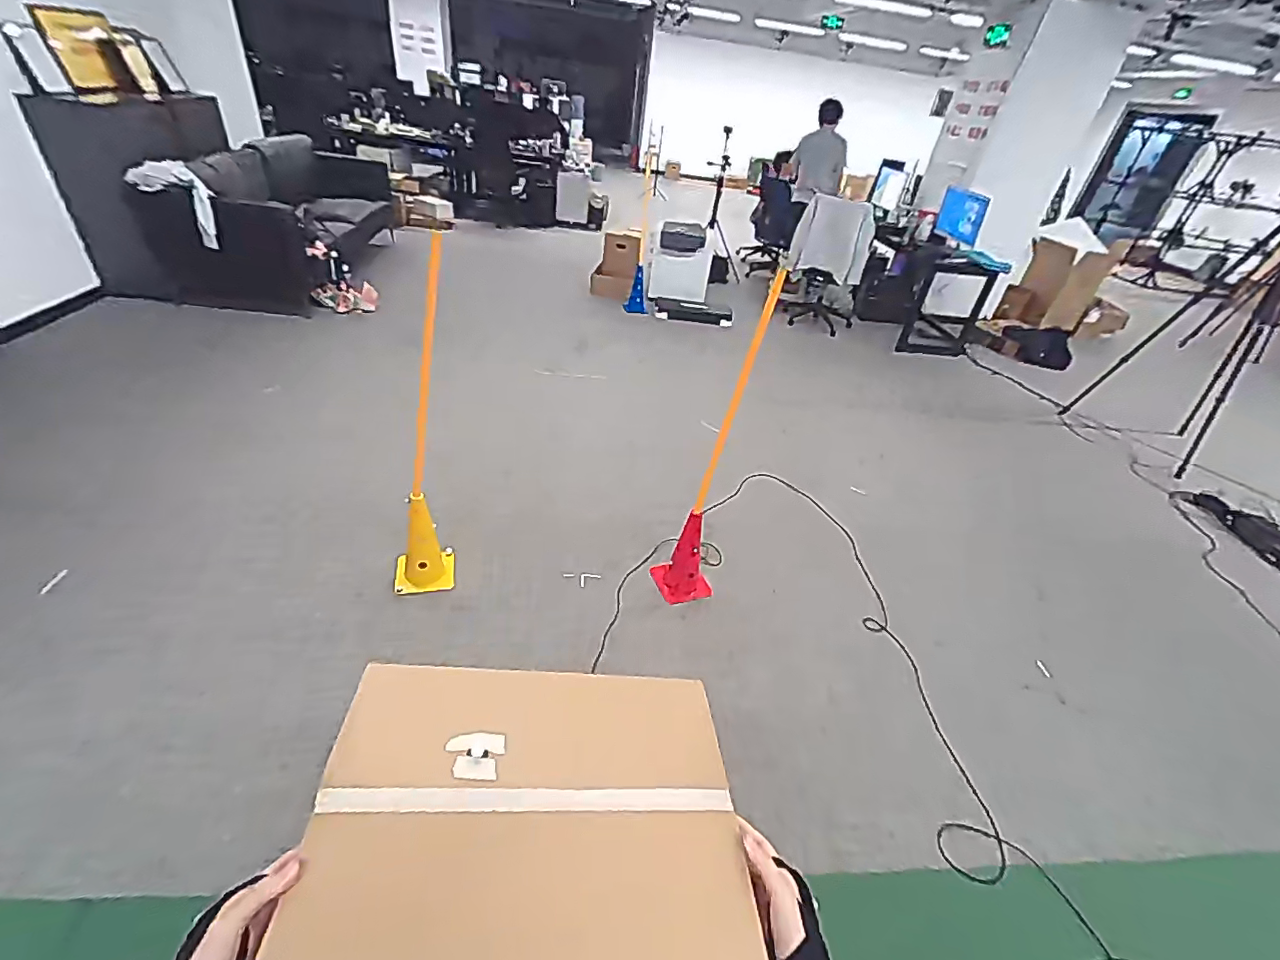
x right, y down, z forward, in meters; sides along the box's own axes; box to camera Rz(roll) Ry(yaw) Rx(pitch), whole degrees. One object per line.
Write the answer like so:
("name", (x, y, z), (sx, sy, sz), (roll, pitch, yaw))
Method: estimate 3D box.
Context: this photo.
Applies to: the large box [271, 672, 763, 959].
("large box", (-0.127, 0.448, 0.617), (0.408, 0.320, 0.320), (6, 32, -11))
